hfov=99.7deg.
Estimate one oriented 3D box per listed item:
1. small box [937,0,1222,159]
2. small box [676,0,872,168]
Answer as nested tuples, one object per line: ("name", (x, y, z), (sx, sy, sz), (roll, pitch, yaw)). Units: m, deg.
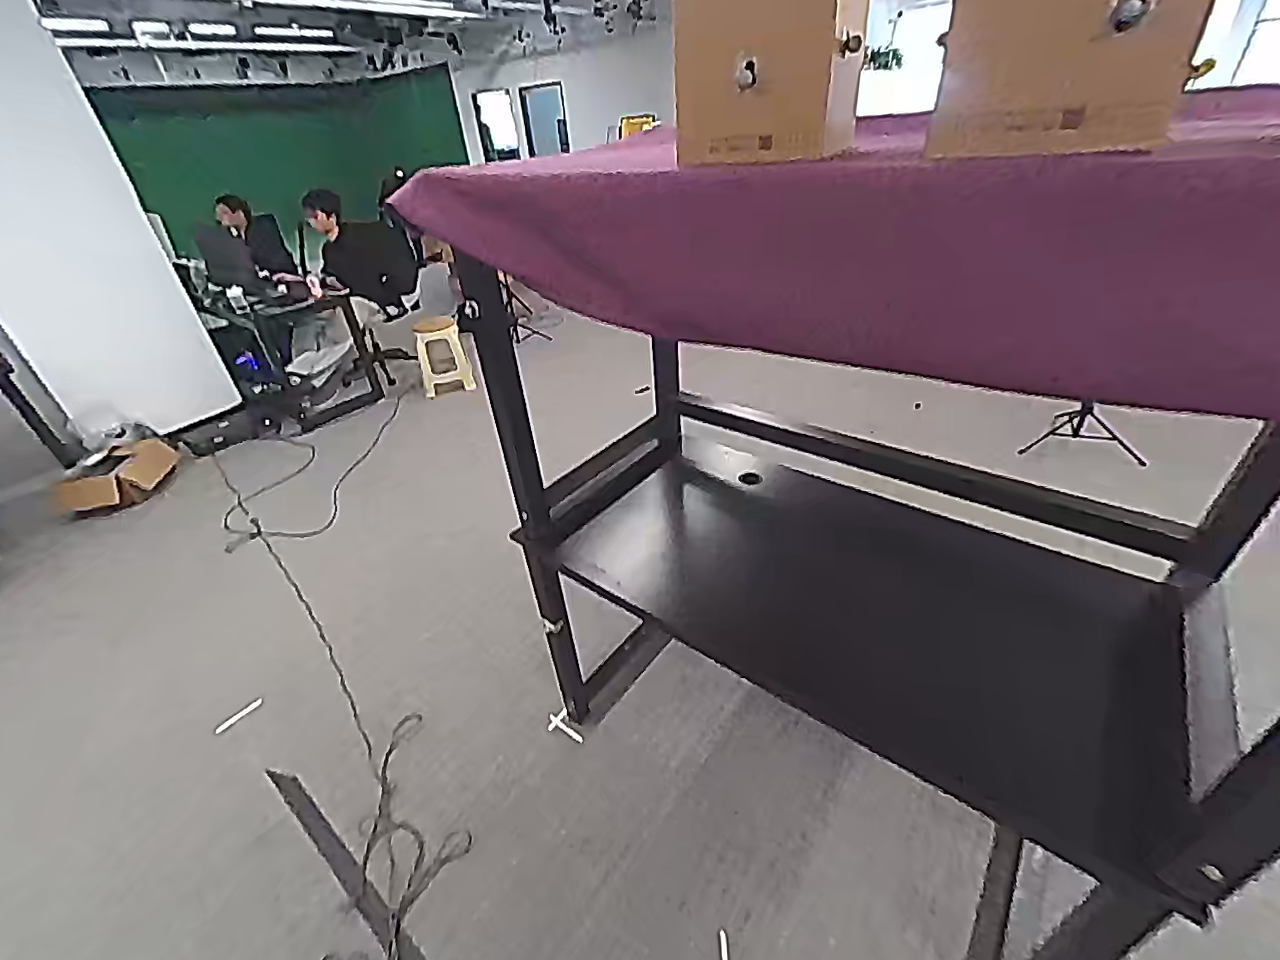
("small box", (0.371, -0.375, 0.460), (0.168, 0.176, 0.179), (18, 39, 30))
("small box", (0.154, -0.451, 0.603), (0.168, 0.176, 0.179), (13, 38, 26))
